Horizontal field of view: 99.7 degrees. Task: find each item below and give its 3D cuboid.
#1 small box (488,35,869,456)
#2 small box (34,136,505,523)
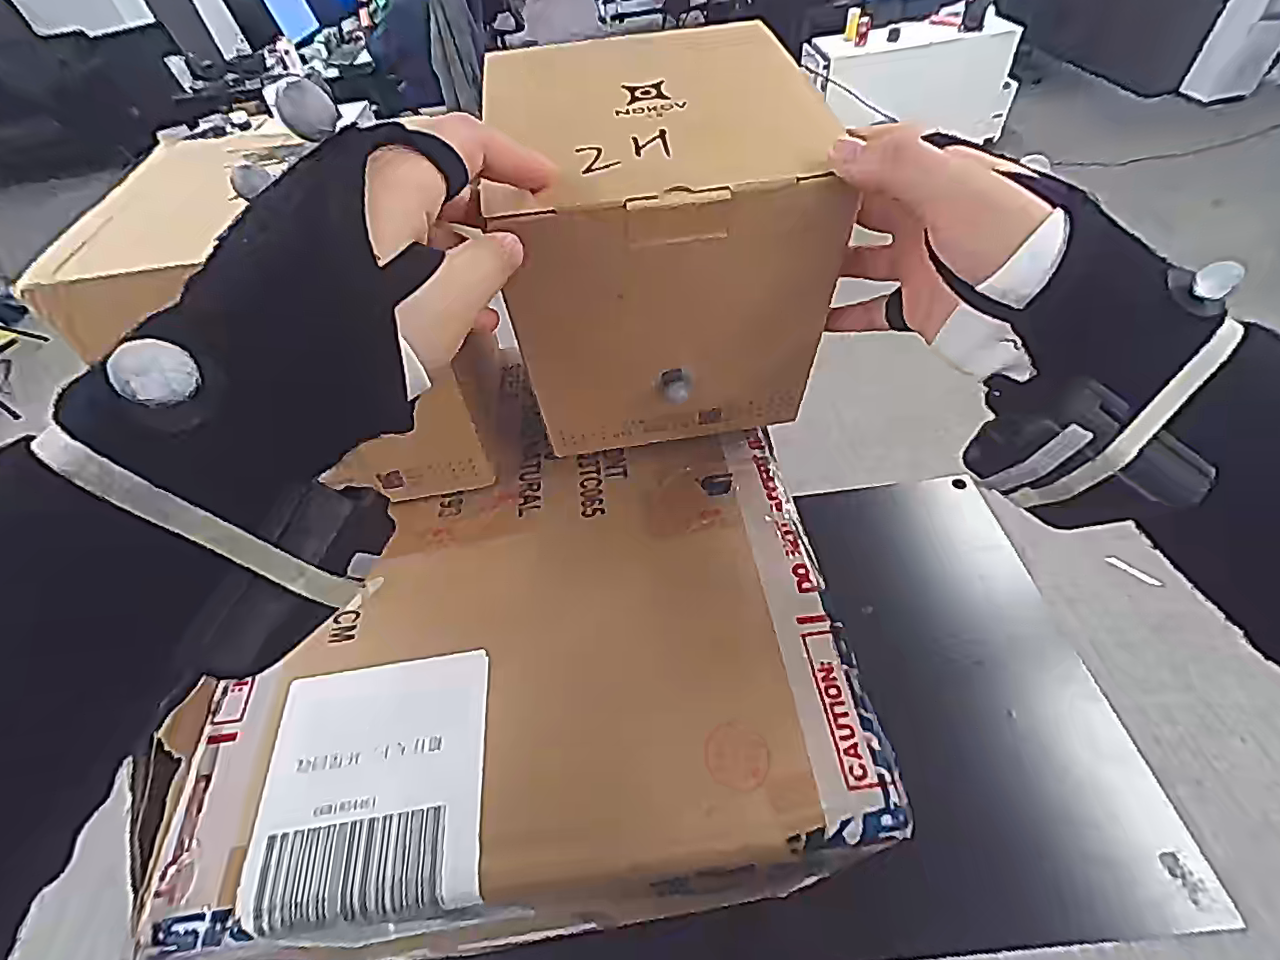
[{"bbox_3d":[0.011,-0.140,0.340,0.168,0.176,0.179,-9,56,-1],"label":"small box"},{"bbox_3d":[-0.190,-0.098,0.352,0.168,0.176,0.179,-9,48,-4],"label":"small box"}]
